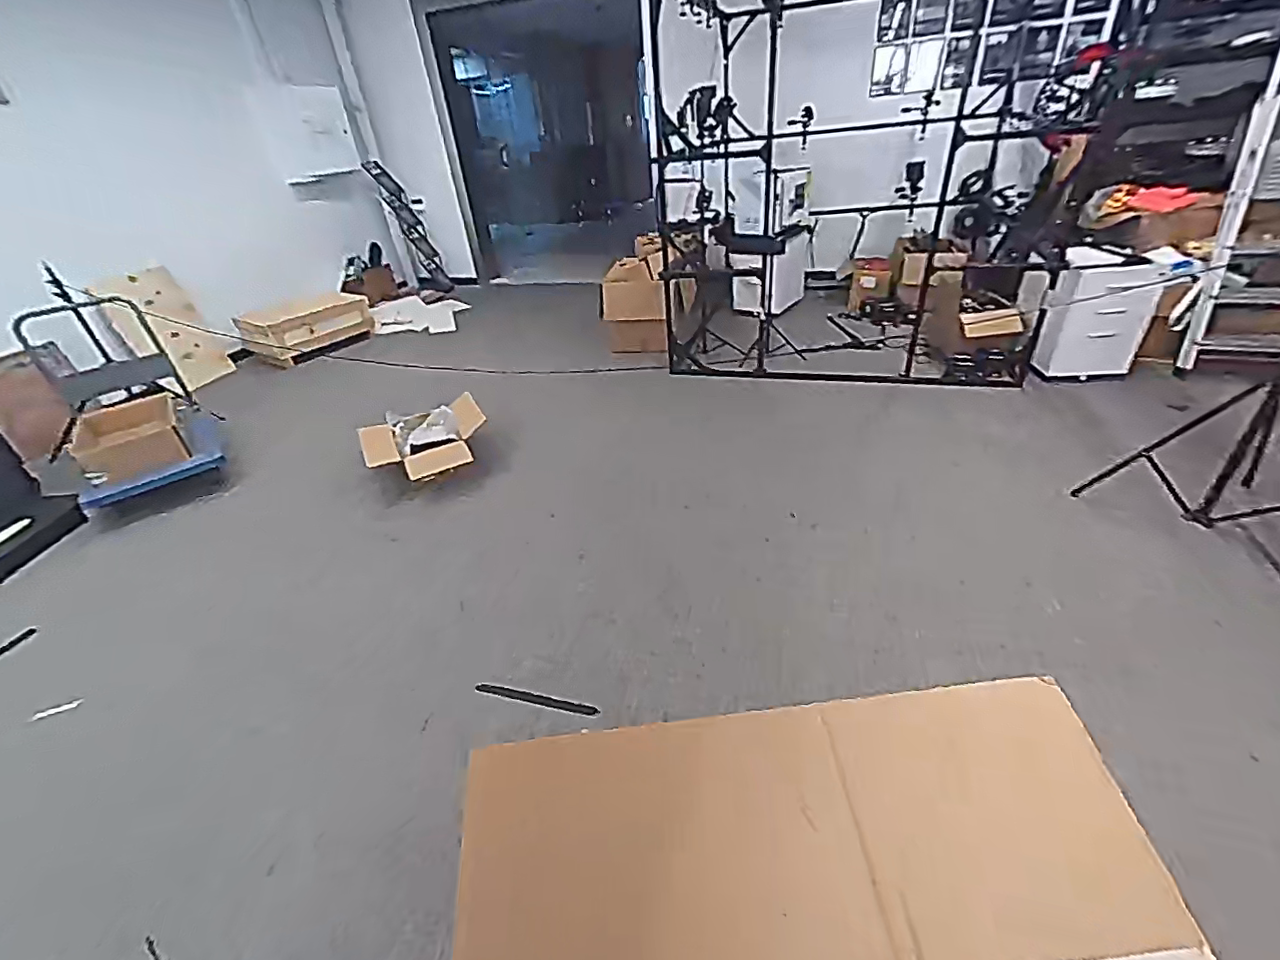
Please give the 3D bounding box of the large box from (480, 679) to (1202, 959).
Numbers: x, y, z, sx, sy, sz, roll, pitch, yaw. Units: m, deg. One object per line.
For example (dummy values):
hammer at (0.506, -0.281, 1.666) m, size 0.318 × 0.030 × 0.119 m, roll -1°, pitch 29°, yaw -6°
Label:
large box at (0.116, 0.378, 0.404) m, size 0.408 × 0.320 × 0.320 m, roll -7°, pitch 53°, yaw -1°
